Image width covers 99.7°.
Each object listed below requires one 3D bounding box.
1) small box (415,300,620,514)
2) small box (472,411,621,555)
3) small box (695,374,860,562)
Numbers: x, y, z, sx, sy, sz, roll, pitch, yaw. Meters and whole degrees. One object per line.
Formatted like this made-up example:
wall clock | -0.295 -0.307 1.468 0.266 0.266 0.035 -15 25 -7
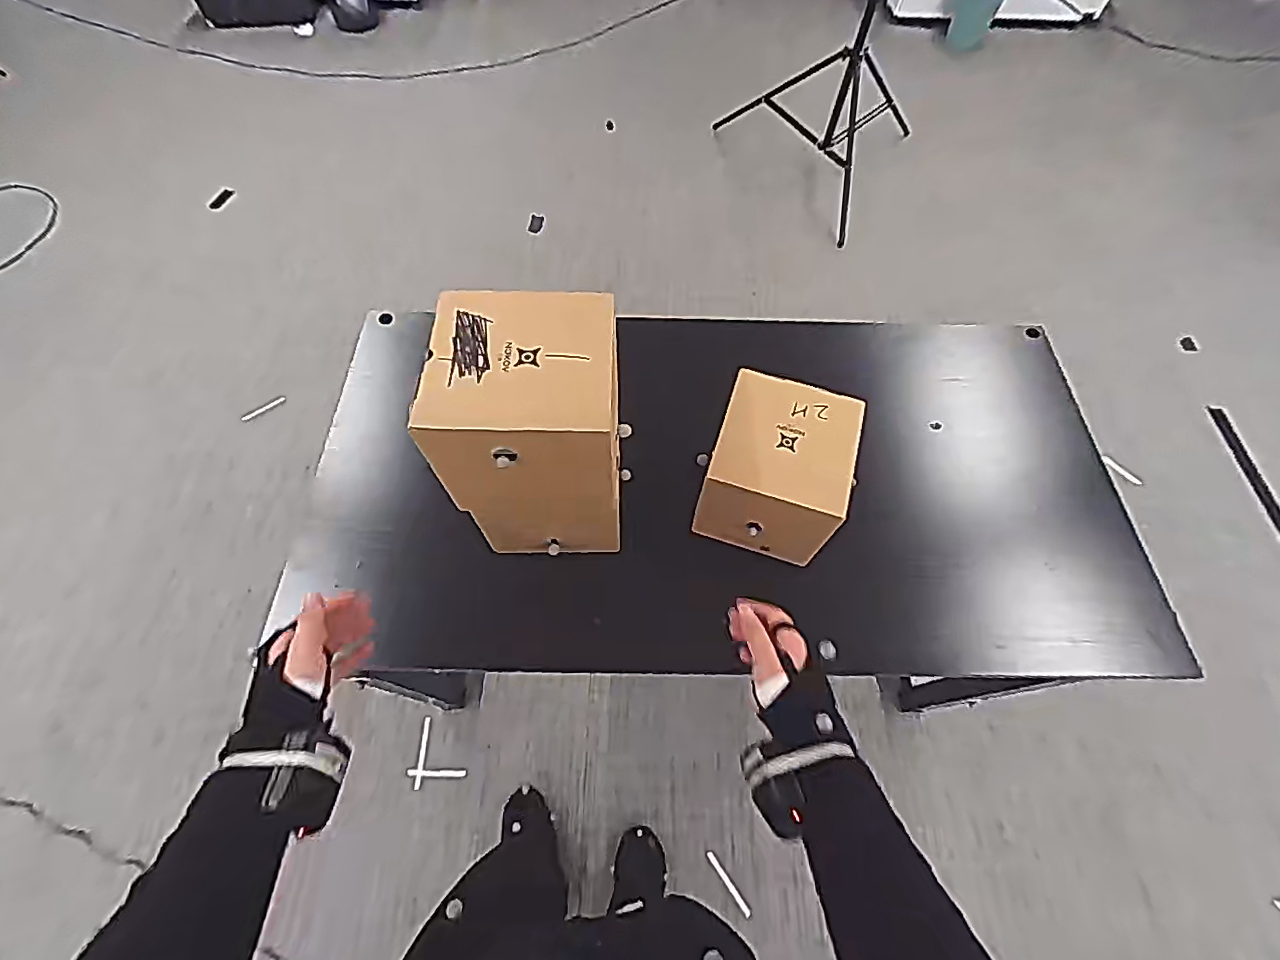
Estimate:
small box | -0.112 -0.070 0.580 0.179 0.176 0.168 1 62 -1
small box | -0.115 -0.003 0.732 0.179 0.176 0.168 0 62 -2
small box | 0.178 -0.009 0.739 0.168 0.176 0.179 17 62 7
